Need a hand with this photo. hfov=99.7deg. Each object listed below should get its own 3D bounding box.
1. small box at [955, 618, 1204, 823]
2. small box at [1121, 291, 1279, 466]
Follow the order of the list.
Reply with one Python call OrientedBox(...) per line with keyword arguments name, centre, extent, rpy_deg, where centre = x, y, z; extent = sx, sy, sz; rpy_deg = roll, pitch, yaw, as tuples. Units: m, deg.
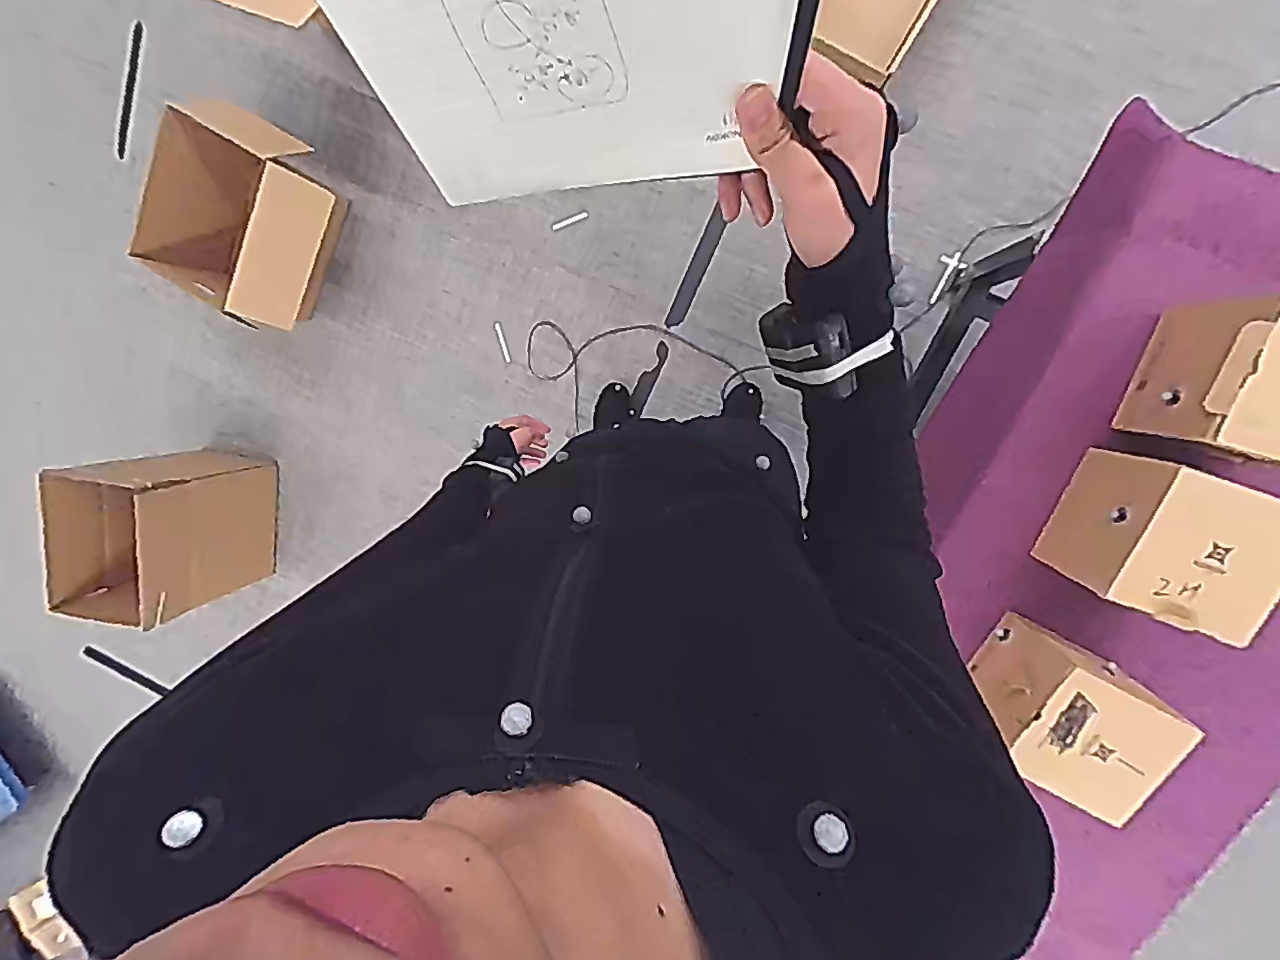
OrientedBox(name="small box", centre=(0.590, 0.319, 0.759), extent=(0.179, 0.176, 0.168), rpy_deg=(28, 104, 2))
OrientedBox(name="small box", centre=(0.749, -0.113, 0.649), extent=(0.179, 0.176, 0.168), rpy_deg=(17, 104, 5))
